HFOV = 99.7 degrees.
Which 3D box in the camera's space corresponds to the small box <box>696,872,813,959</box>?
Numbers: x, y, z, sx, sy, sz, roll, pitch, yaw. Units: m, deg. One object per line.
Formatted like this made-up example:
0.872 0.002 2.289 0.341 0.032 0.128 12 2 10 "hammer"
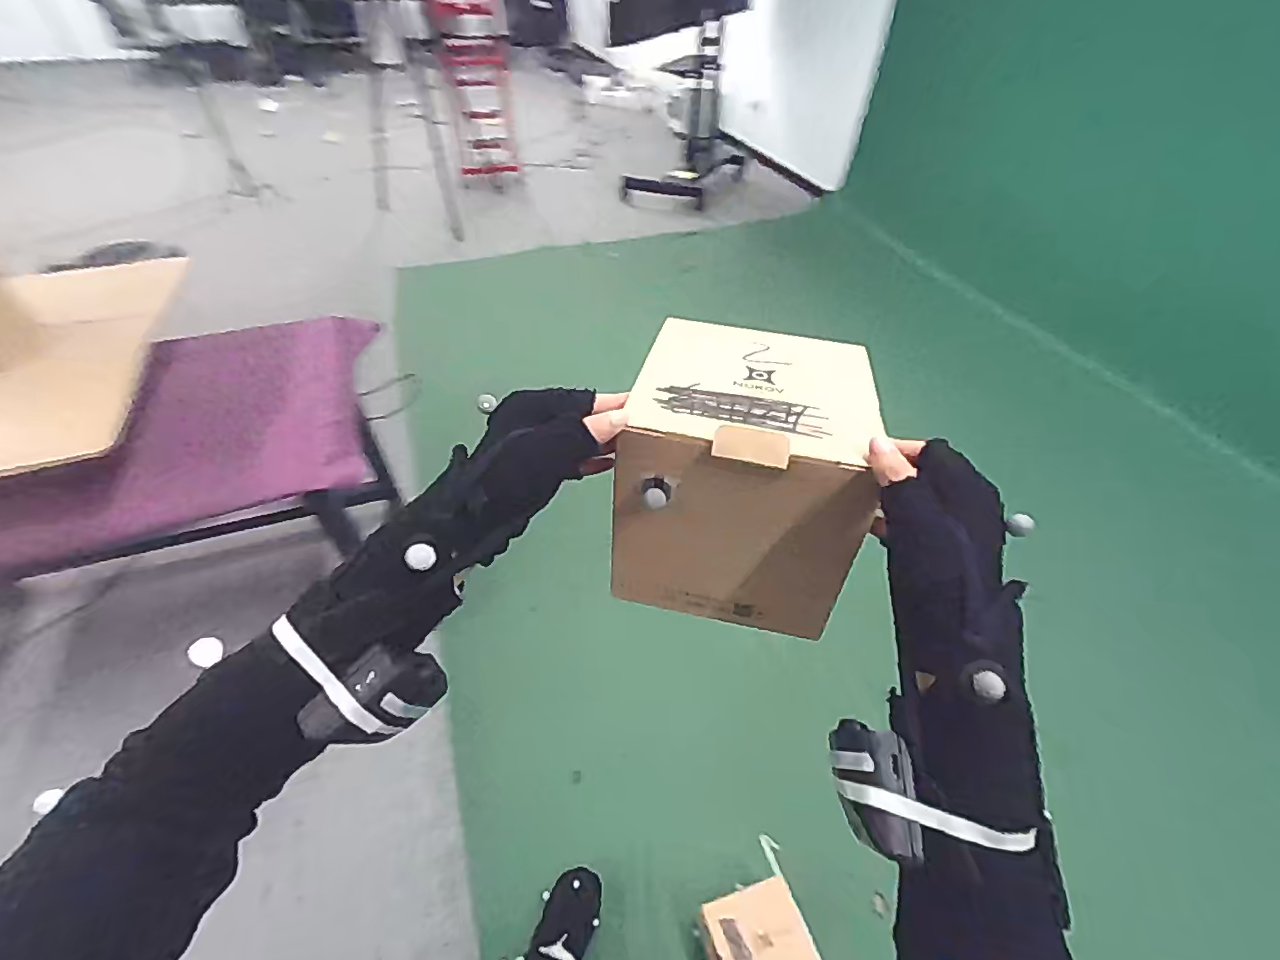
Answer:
0.218 0.915 1.072 0.179 0.176 0.168 -12 49 -13 "small box"
